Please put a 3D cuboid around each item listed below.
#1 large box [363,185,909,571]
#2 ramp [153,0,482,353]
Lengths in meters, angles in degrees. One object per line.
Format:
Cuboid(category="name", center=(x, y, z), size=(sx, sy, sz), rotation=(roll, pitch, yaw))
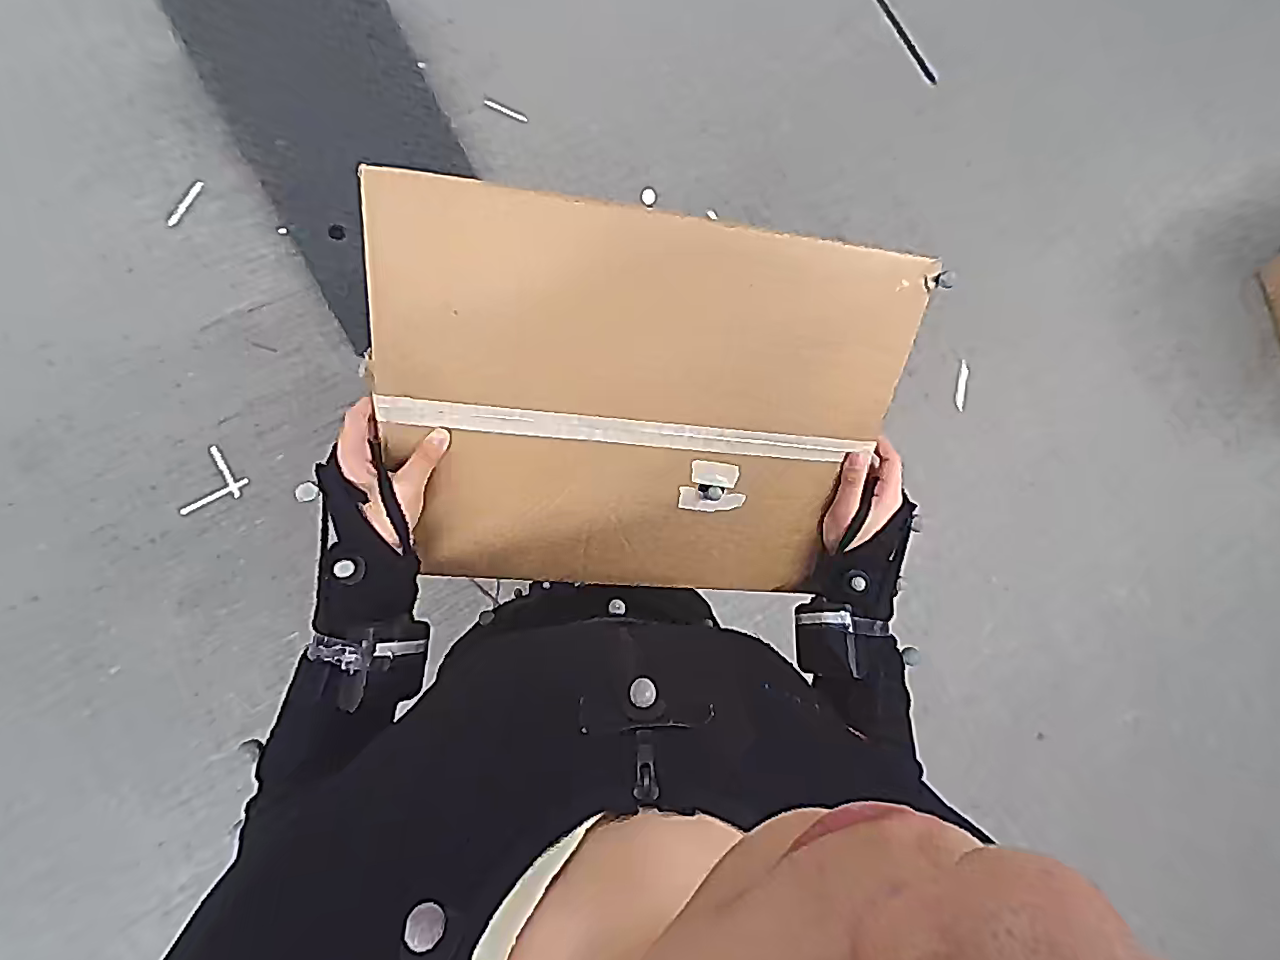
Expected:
Cuboid(category="large box", center=(-0.024, -0.117, 0.580), size=(0.408, 0.320, 0.320), rotation=(3, 118, -11))
Cuboid(category="ramp", center=(-0.740, -0.870, 1.369), size=(0.509, 0.206, 0.991), rotation=(-31, 88, -15))
